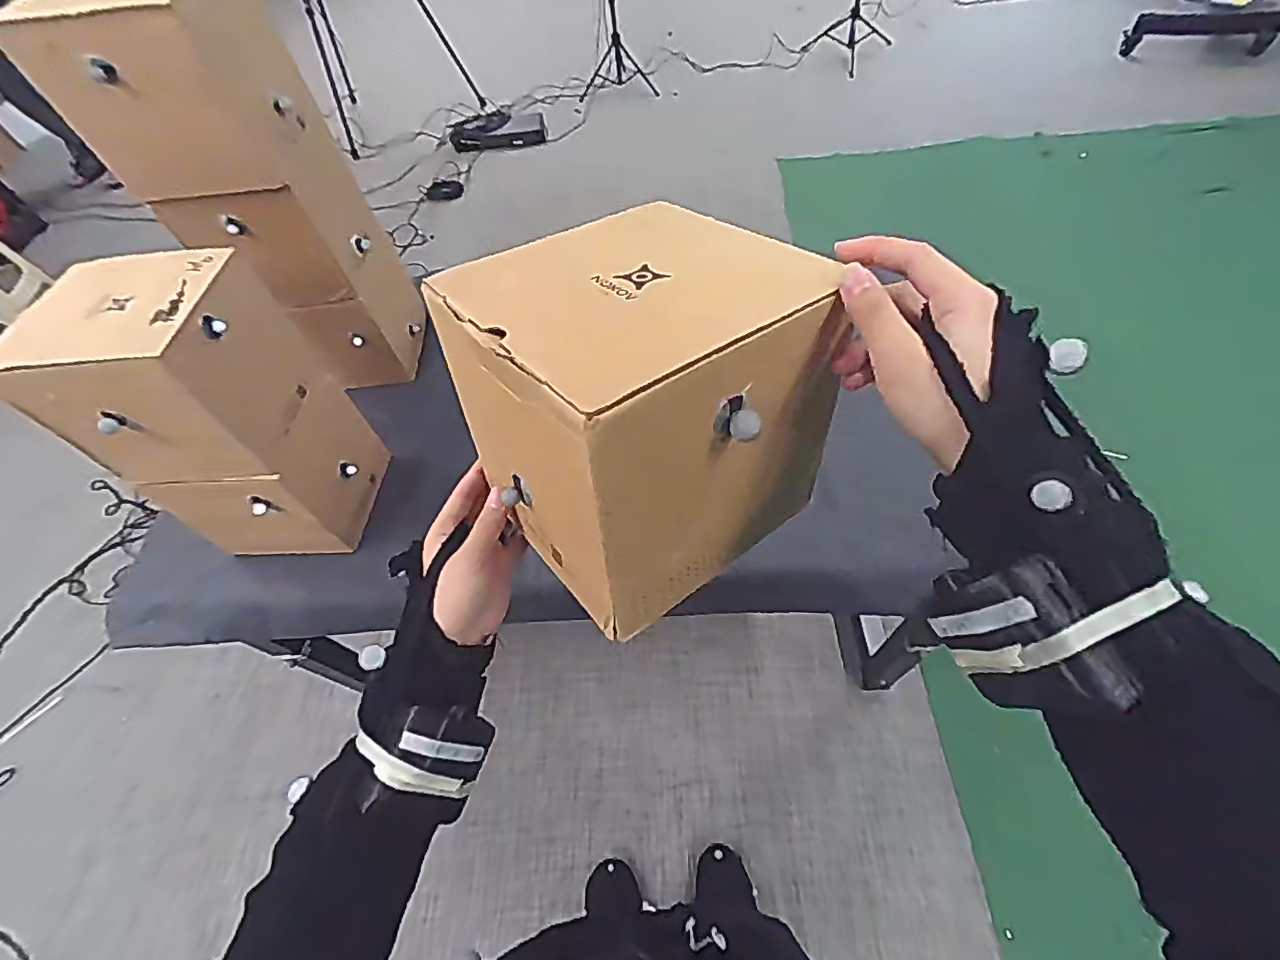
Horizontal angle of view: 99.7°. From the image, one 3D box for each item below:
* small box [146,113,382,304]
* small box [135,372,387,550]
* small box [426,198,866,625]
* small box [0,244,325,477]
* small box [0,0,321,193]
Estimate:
[{"bbox_3d":[-0.482,-0.355,0.727,0.179,0.176,0.168,-6,59,0],"label":"small box"},{"bbox_3d":[-0.461,-0.019,0.696,0.179,0.176,0.168,-2,54,5],"label":"small box"},{"bbox_3d":[0.002,-0.048,0.339,0.179,0.176,0.168,-31,51,-24],"label":"small box"},{"bbox_3d":[-0.478,-0.116,0.565,0.179,0.176,0.168,-5,55,3],"label":"small box"},{"bbox_3d":[-0.492,-0.435,0.583,0.179,0.176,0.168,-4,59,2],"label":"small box"}]
